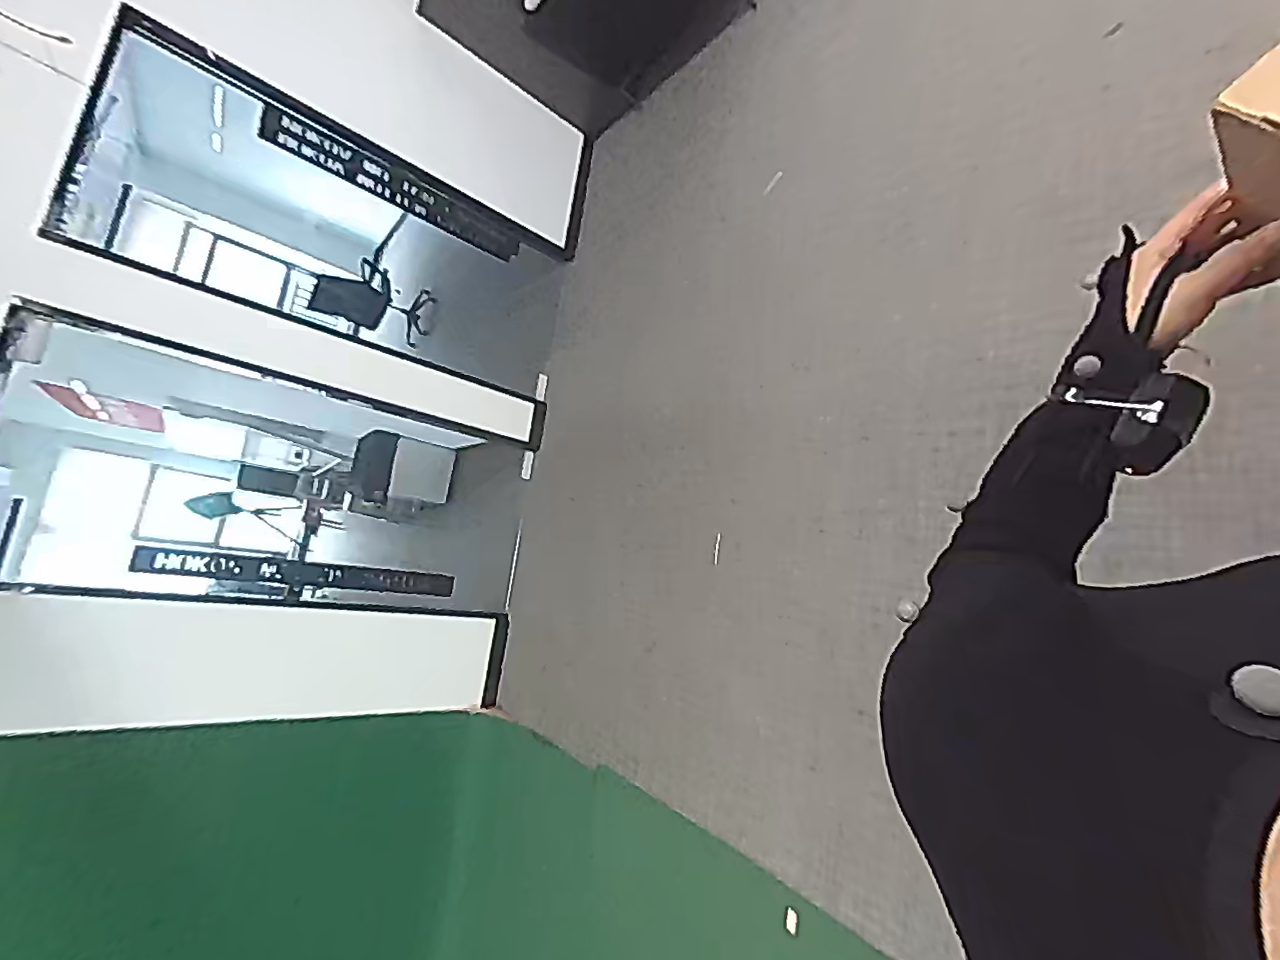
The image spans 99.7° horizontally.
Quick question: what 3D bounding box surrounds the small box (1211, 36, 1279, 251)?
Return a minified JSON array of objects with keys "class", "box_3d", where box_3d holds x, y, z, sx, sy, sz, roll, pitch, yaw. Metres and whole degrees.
[{"class":"small box","box_3d":[0.456,-0.186,0.260,0.179,0.176,0.168,-44,42,32]}]
